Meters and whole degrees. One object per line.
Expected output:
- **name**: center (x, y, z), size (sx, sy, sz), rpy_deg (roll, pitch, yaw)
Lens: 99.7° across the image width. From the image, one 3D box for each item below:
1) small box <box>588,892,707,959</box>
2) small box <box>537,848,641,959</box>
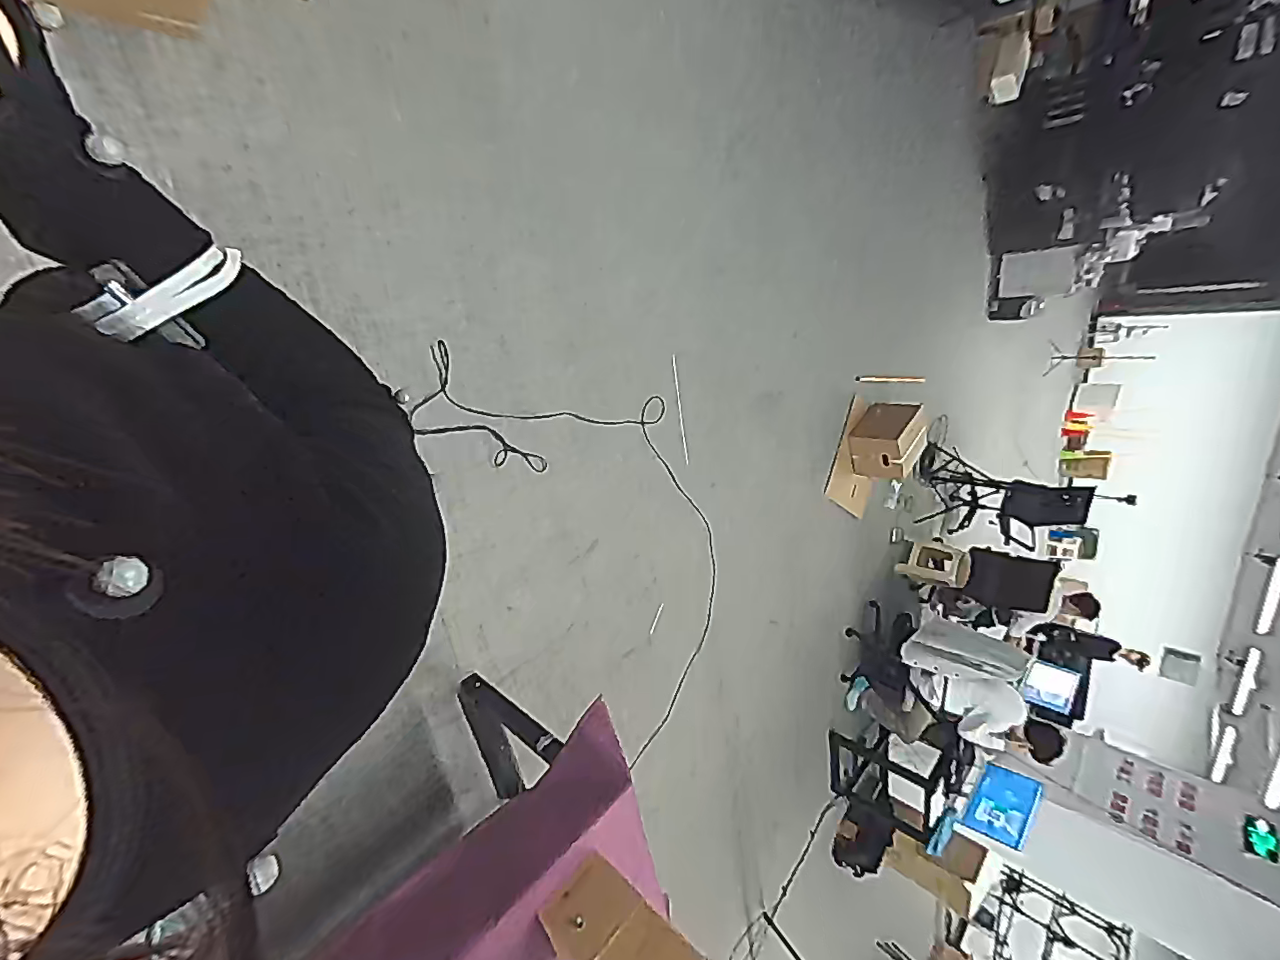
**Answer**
- **small box**: center (0.019, 0.974, 1.062), size (0.179, 0.176, 0.168), rpy_deg (-32, 121, -35)
- **small box**: center (-0.099, 0.948, 1.171), size (0.168, 0.176, 0.179), rpy_deg (-31, 121, -36)
